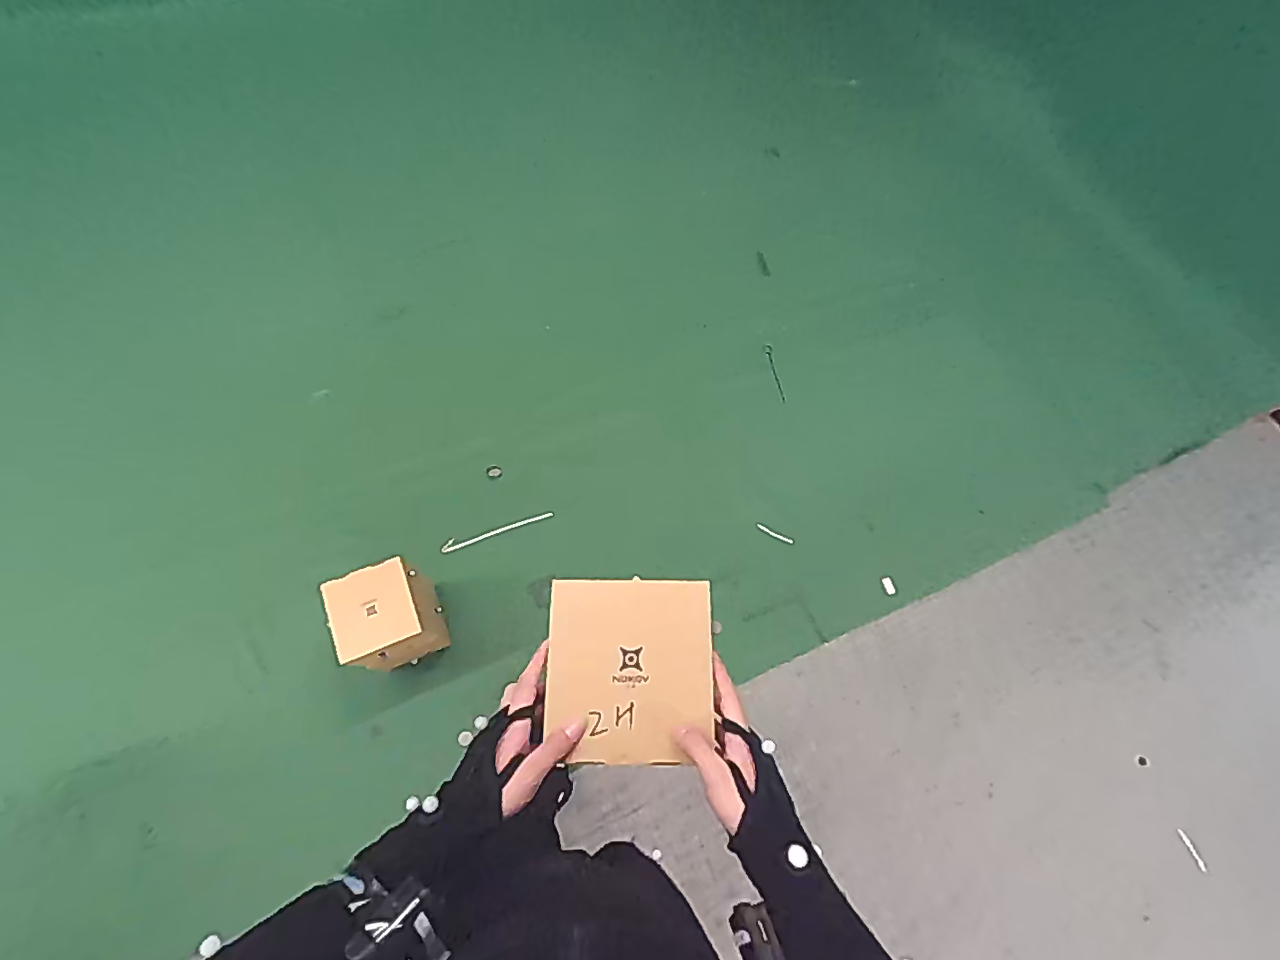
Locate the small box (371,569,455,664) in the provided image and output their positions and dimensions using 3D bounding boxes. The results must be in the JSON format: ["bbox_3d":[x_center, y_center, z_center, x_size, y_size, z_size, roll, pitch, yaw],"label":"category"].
[{"bbox_3d":[-0.580,0.346,1.347,0.168,0.176,0.179,-20,75,-14],"label":"small box"}]

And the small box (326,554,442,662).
[{"bbox_3d":[-0.558,0.288,1.199,0.168,0.176,0.179,-21,73,-13],"label":"small box"}]

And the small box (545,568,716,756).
[{"bbox_3d":[-0.008,0.201,0.612,0.168,0.176,0.179,1,73,0],"label":"small box"}]
